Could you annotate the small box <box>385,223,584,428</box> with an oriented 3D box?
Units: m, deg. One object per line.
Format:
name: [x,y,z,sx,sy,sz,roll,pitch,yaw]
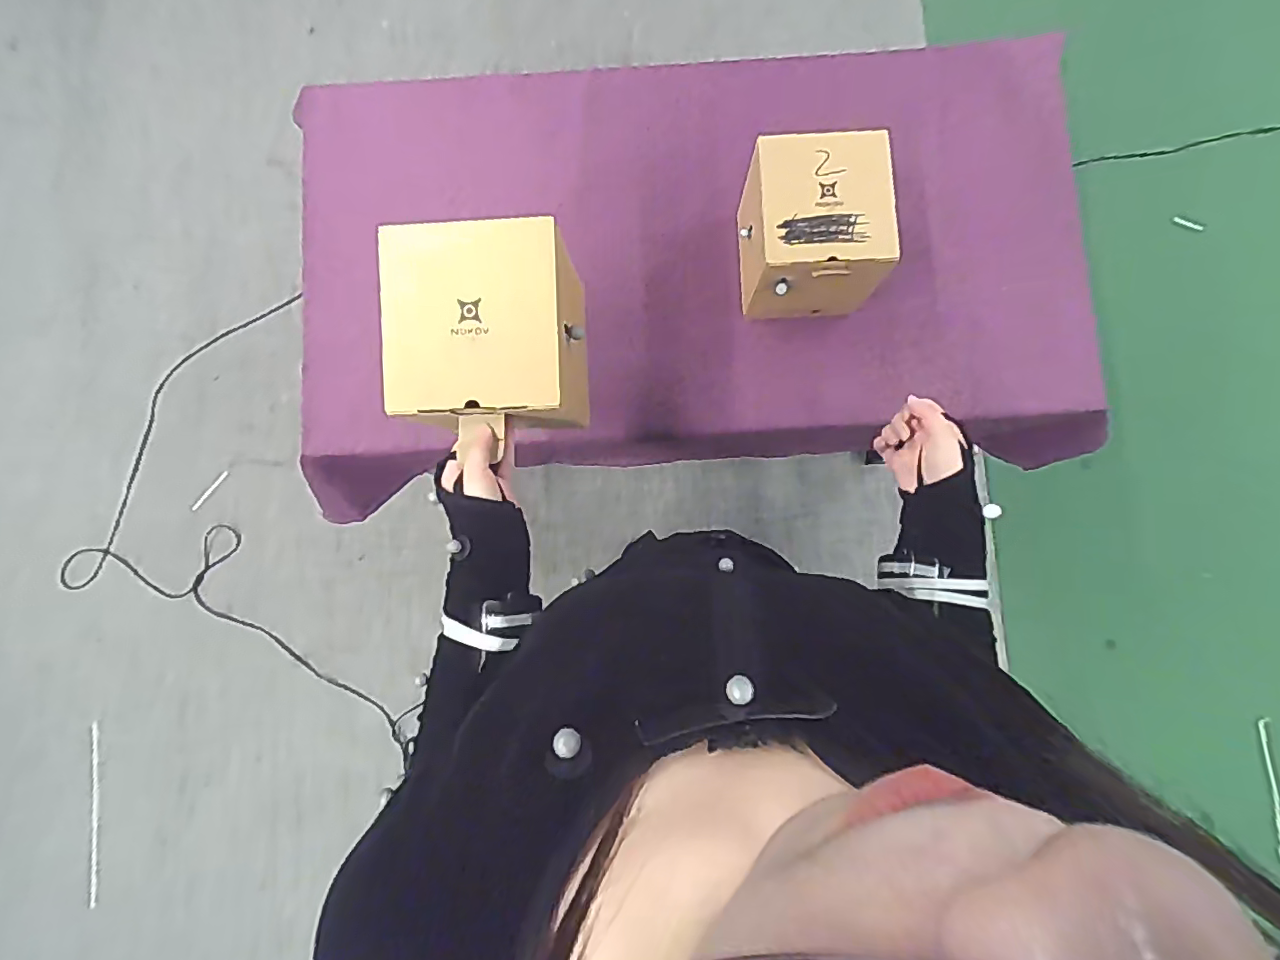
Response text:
small box: [-0.155,-0.153,0.589,0.168,0.176,0.179,-2,91,3]
